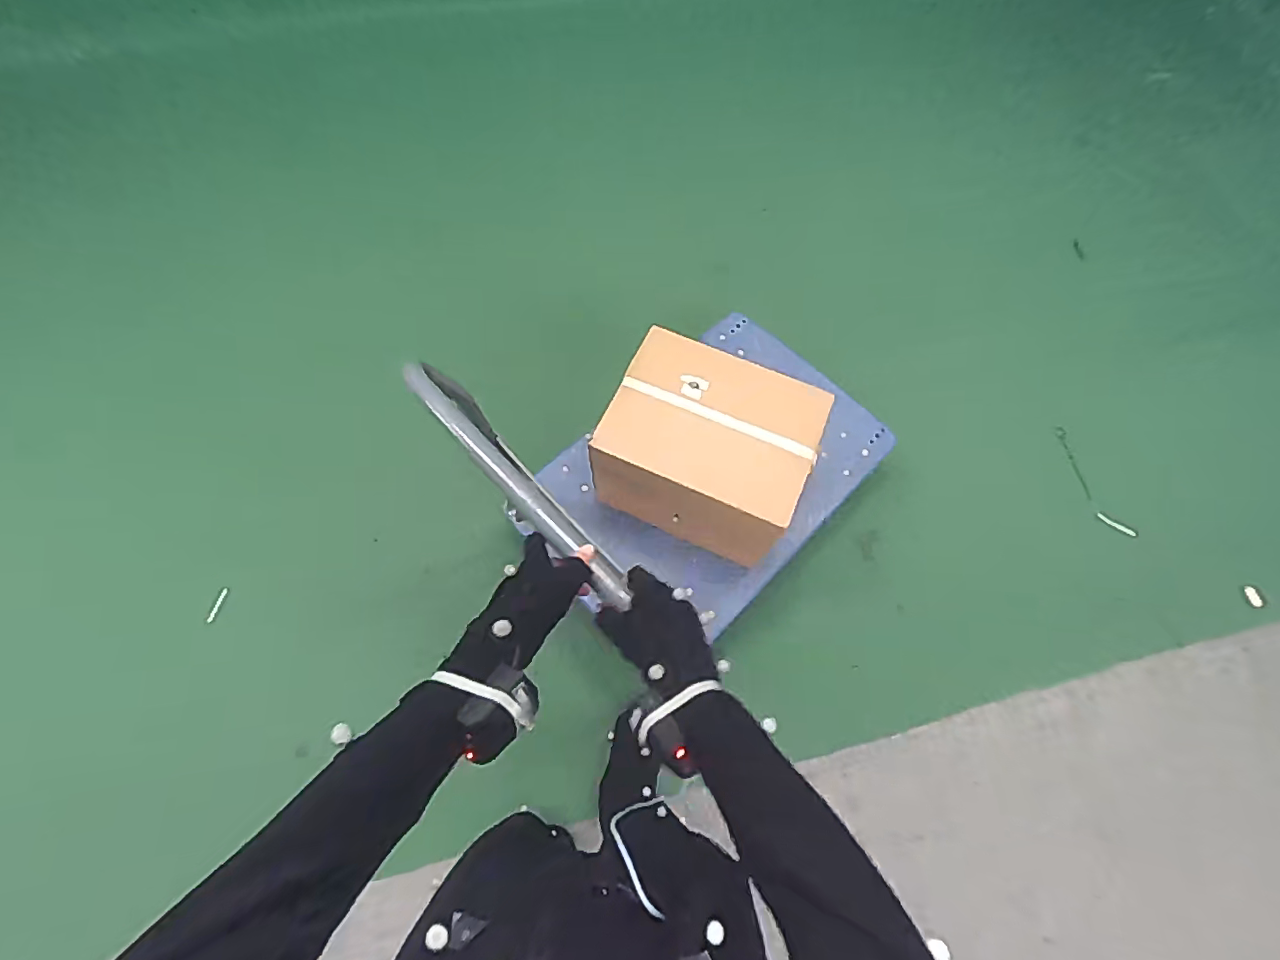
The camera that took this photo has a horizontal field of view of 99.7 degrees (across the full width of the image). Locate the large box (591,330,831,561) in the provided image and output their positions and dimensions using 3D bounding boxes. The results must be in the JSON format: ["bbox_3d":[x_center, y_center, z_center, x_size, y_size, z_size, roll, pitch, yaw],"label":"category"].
[{"bbox_3d":[0.147,-0.061,1.197,0.408,0.320,0.320,23,68,9],"label":"large box"}]
